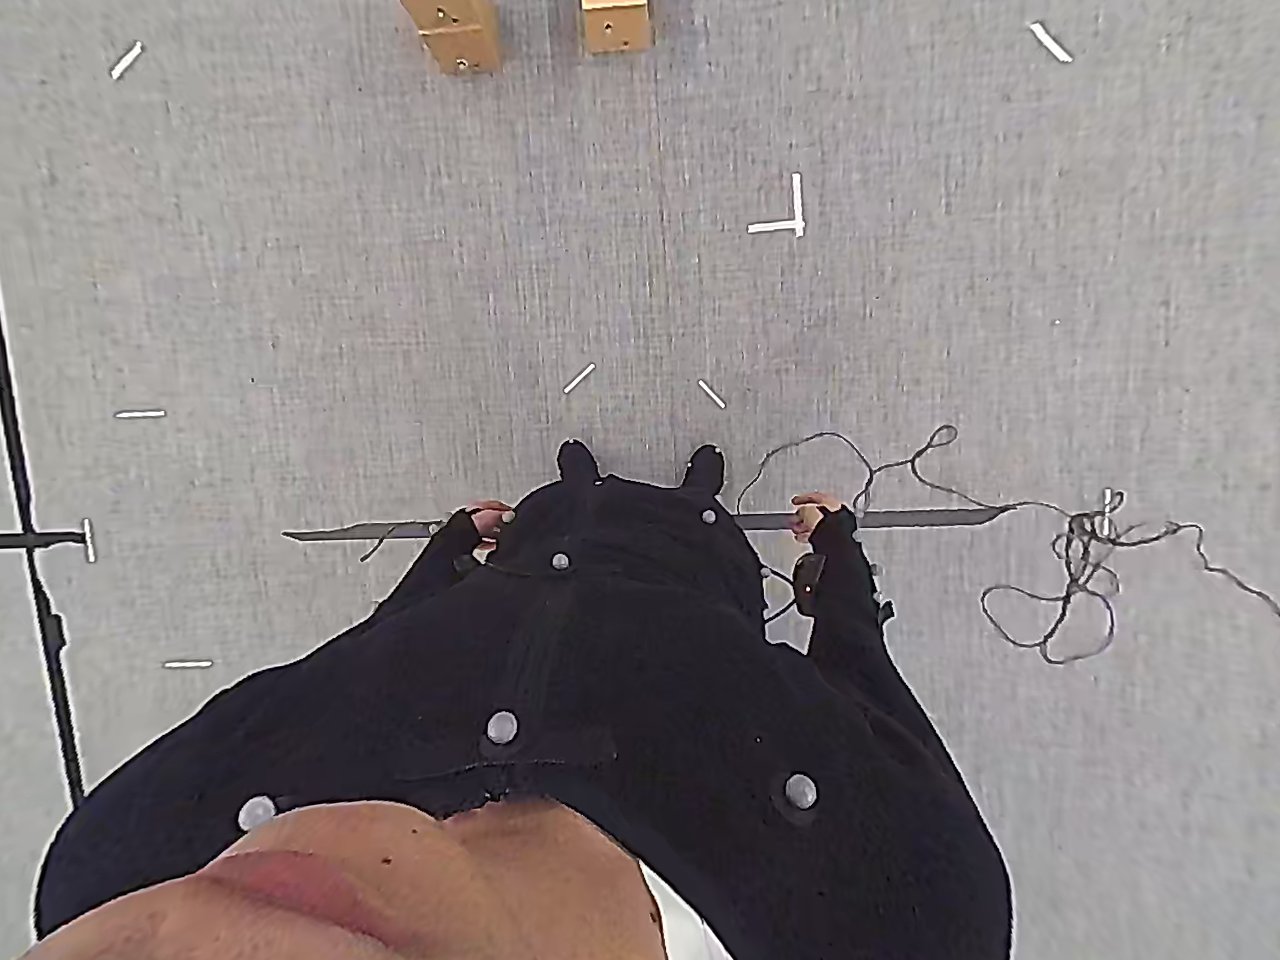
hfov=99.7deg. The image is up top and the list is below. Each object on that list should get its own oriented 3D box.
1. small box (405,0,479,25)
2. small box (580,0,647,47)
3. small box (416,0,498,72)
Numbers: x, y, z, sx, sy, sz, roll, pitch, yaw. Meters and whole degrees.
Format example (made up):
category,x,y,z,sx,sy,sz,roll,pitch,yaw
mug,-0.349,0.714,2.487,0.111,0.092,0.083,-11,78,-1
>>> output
category,x,y,z,sx,sy,sz,roll,pitch,yaw
small box,-0.493,-1.232,1.277,0.168,0.176,0.179,-3,96,4
small box,-0.069,-1.282,1.423,0.168,0.176,0.179,-3,95,2
small box,-0.486,-1.239,1.440,0.168,0.176,0.179,-2,95,4
